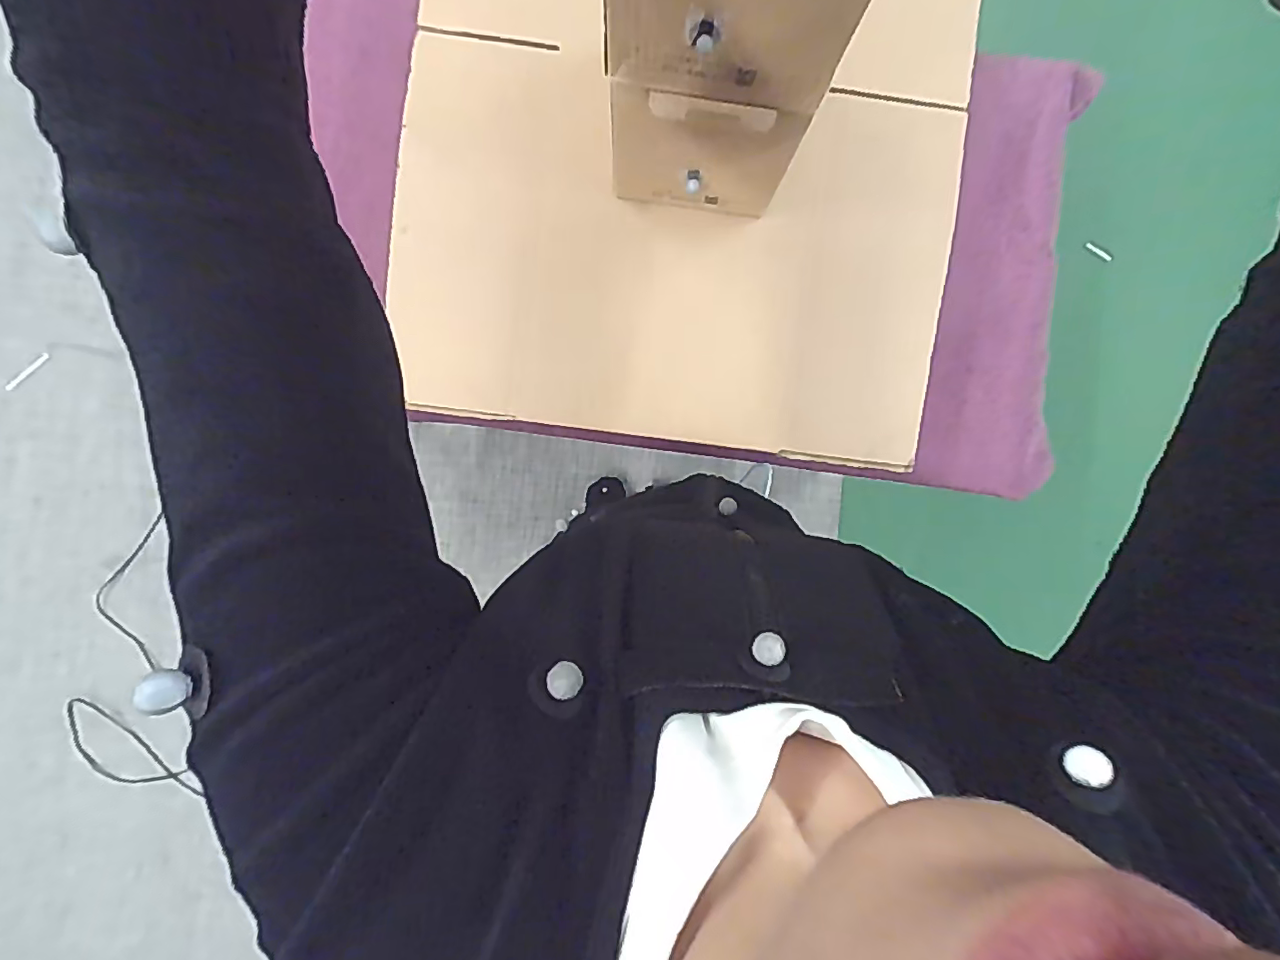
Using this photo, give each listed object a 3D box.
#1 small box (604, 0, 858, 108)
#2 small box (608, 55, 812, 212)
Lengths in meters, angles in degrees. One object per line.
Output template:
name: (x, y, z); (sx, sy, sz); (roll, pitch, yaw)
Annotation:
small box: (0.066, -0.390, 0.344); (0.168, 0.176, 0.179); (8, 89, -2)
small box: (0.063, -0.387, 0.507); (0.168, 0.176, 0.179); (7, 89, -1)
